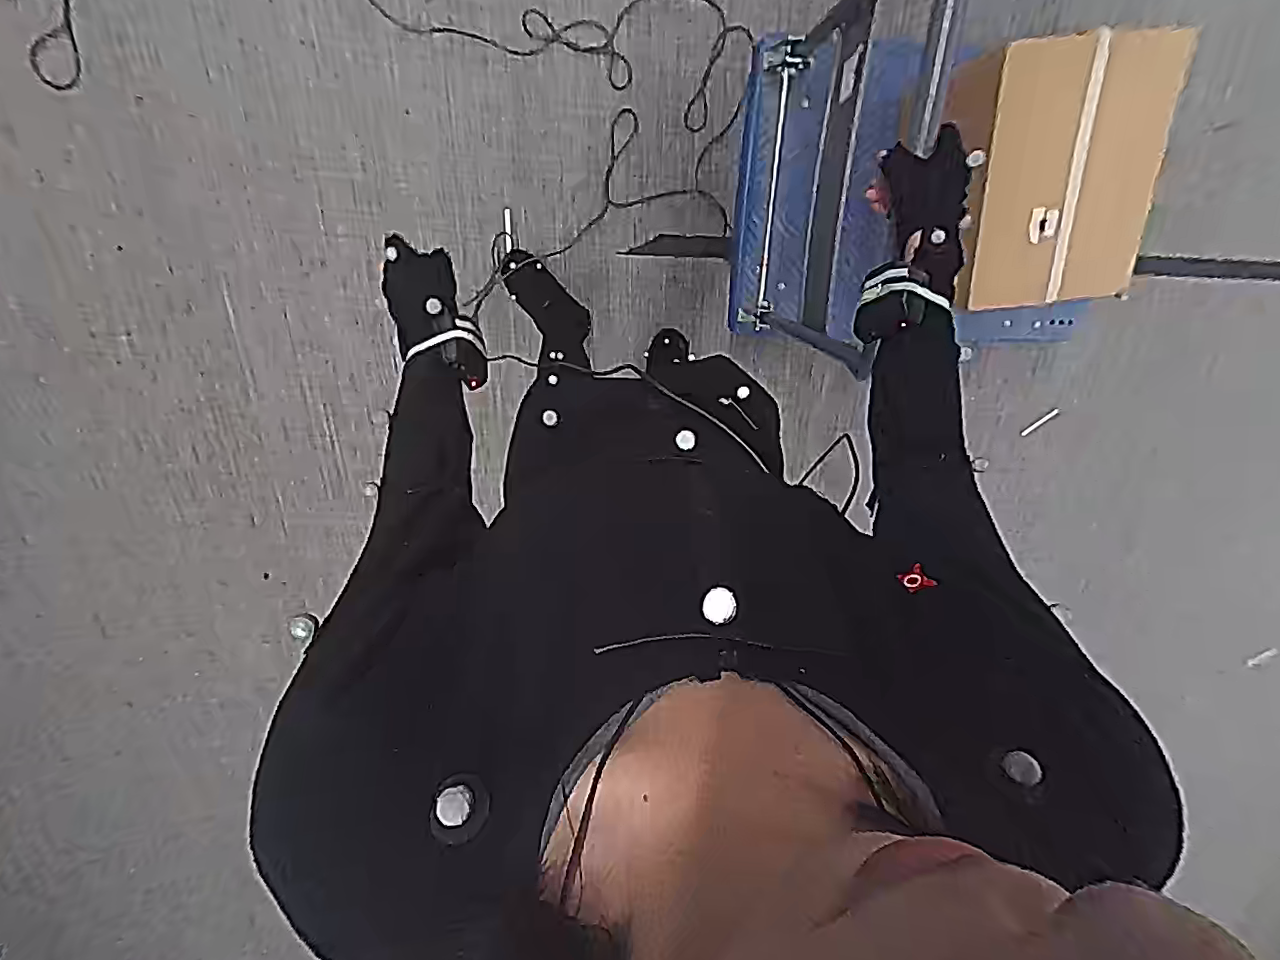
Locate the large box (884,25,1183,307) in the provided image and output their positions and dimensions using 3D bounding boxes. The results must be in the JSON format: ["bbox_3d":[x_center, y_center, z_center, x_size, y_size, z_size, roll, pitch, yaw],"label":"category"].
[{"bbox_3d":[0.711,-0.579,1.056,0.320,0.320,0.408,-7,114,-2],"label":"large box"}]
